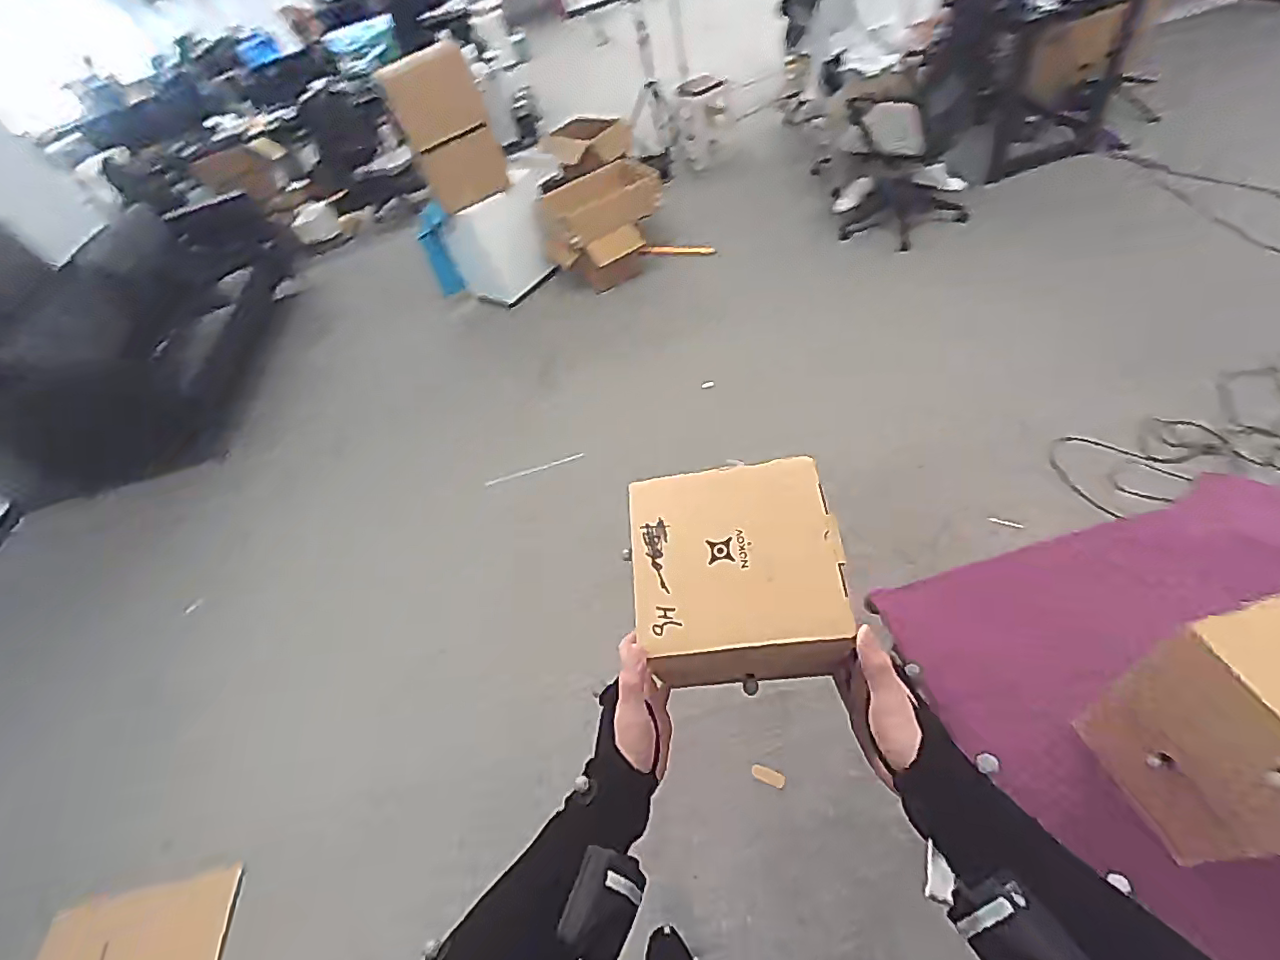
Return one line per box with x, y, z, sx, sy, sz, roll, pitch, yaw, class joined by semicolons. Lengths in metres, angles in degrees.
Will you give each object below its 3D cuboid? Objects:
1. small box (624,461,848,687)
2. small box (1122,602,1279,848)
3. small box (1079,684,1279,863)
0.086;0.101;0.534;0.179;0.176;0.168;-8;59;7;small box
0.632;0.230;0.513;0.168;0.176;0.179;-16;48;2;small box
0.682;0.328;0.637;0.168;0.176;0.179;-18;47;1;small box
